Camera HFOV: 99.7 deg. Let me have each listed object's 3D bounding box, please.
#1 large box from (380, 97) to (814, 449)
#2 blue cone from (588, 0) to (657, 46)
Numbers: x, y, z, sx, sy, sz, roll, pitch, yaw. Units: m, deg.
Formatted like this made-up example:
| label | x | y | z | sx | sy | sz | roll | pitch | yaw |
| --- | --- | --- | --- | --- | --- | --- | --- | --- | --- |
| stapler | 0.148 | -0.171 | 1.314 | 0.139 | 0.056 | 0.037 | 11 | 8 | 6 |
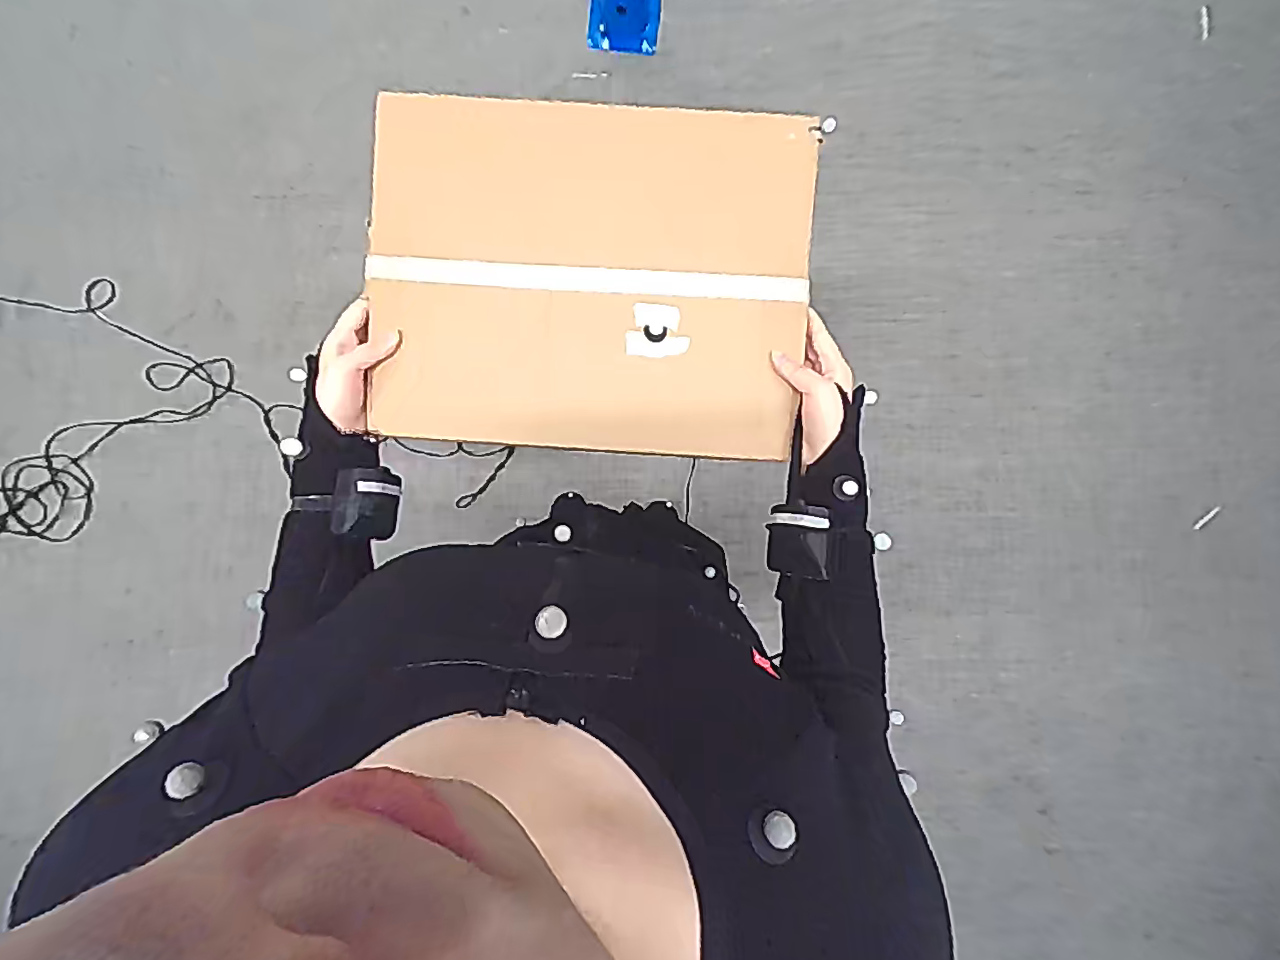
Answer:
| label | x | y | z | sx | sy | sz | roll | pitch | yaw |
| --- | --- | --- | --- | --- | --- | --- | --- | --- | --- |
| large box | -0.045 | -0.200 | 0.655 | 0.408 | 0.320 | 0.320 | 3 | 94 | -1 |
| blue cone | -0.049 | -1.343 | 1.381 | 0.193 | 0.380 | 0.192 | 7 | 88 | 0 |
